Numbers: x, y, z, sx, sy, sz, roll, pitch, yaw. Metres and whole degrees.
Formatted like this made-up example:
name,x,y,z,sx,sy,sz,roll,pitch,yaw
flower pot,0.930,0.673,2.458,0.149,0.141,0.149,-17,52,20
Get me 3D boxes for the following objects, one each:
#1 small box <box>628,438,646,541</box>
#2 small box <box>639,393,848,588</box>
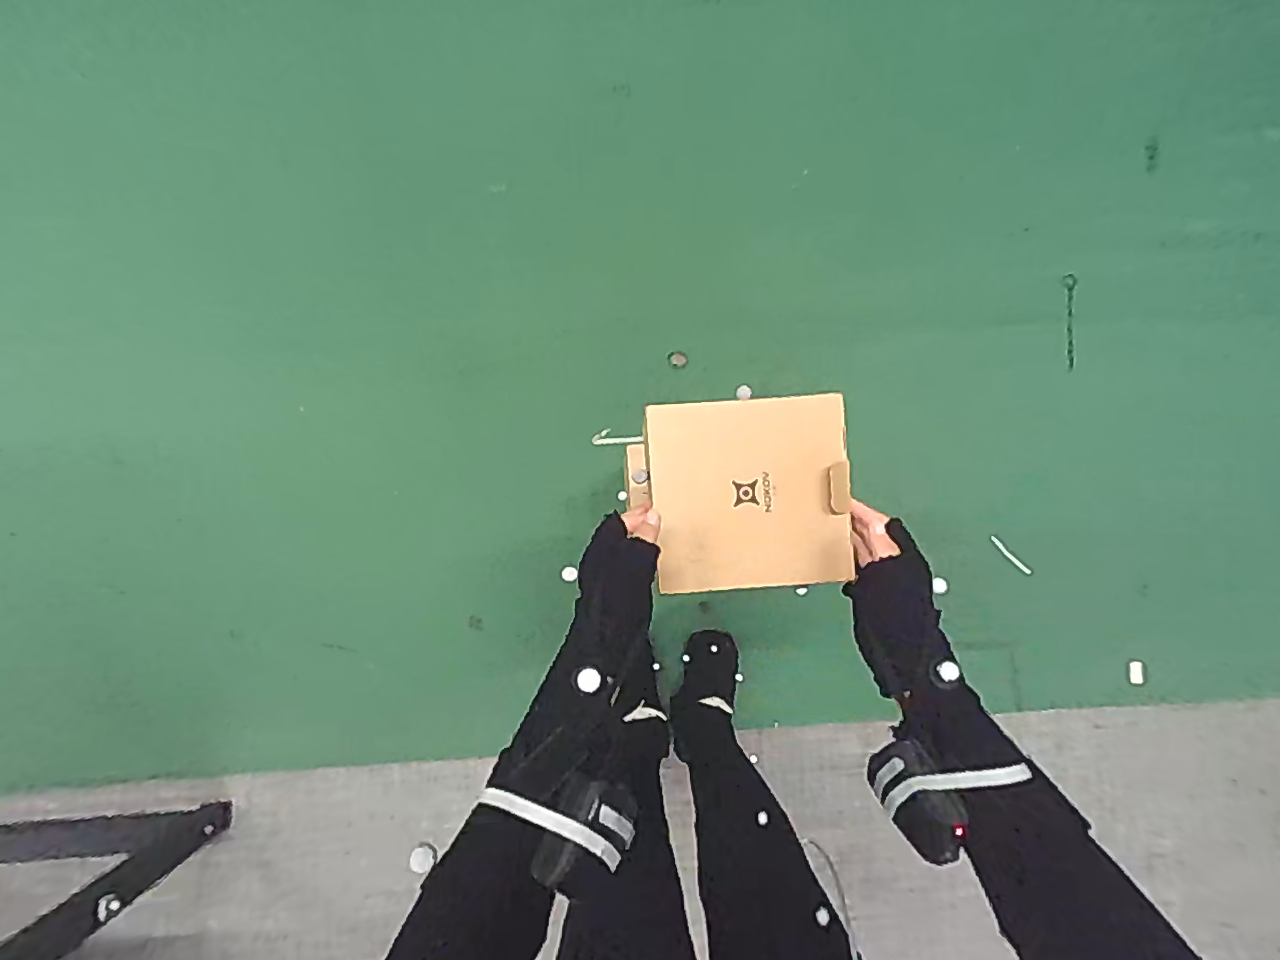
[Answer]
name,x,y,z,sx,sy,sz,roll,pitch,yaw
small box,0.070,0.021,0.938,0.179,0.176,0.168,-1,84,-2
small box,0.091,0.011,0.556,0.179,0.176,0.168,-5,90,-1
